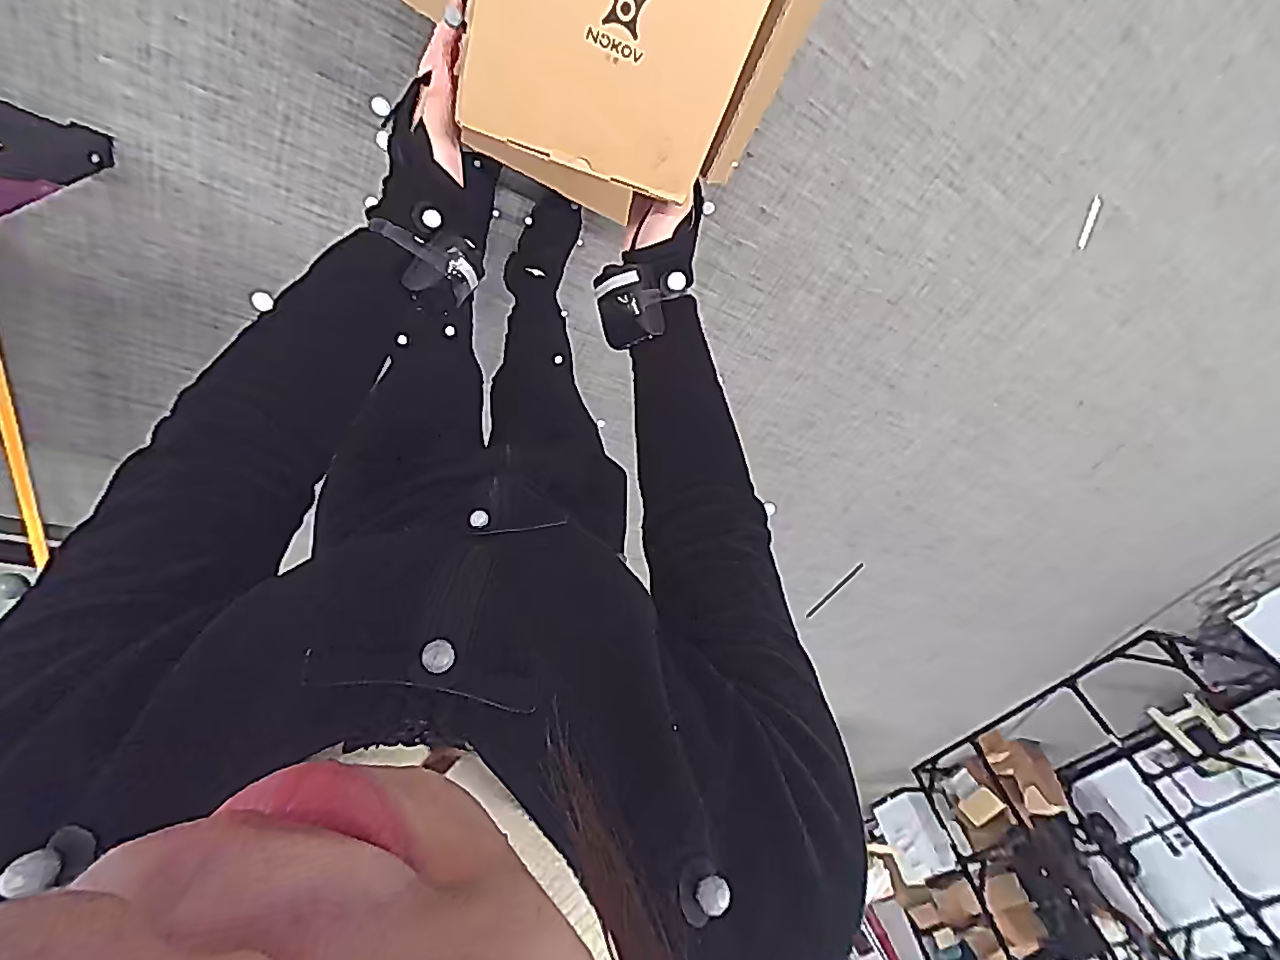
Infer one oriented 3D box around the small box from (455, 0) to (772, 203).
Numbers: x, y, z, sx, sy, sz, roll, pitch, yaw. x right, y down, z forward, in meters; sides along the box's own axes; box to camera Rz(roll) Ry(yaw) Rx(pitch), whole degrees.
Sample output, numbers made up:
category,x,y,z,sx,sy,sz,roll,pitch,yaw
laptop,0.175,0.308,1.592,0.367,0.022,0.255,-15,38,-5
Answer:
category,x,y,z,sx,sy,sz,roll,pitch,yaw
small box,-0.025,-0.332,0.370,0.168,0.176,0.179,7,133,-24
